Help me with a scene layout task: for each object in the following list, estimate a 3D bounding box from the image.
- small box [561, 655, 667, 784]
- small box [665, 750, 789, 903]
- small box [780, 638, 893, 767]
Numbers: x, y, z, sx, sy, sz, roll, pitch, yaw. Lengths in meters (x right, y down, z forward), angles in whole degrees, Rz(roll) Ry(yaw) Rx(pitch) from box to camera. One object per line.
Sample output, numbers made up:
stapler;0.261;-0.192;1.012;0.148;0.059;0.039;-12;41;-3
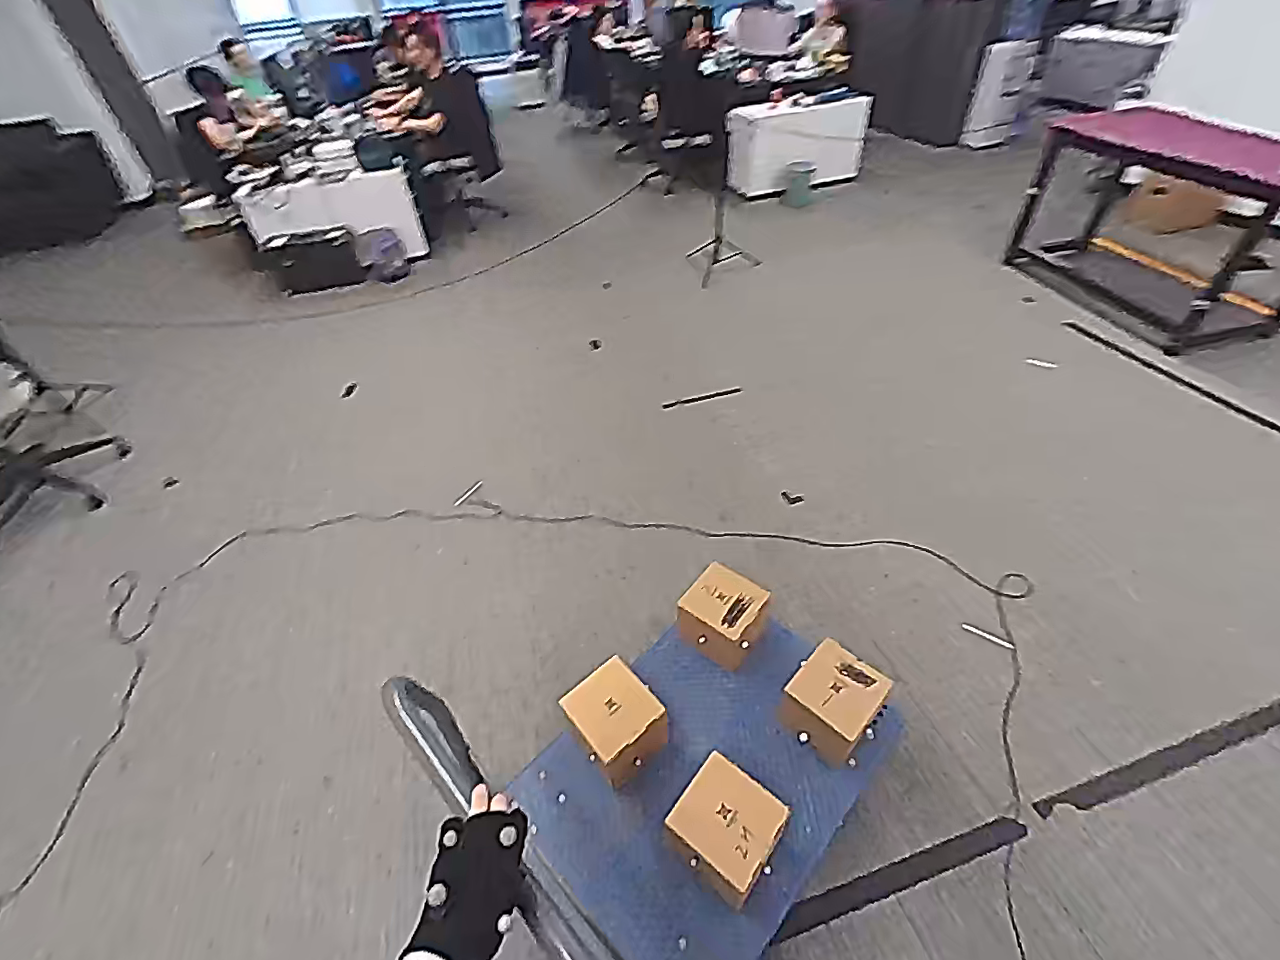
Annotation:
small box;-0.057;0.543;1.224;0.168;0.176;0.179;-33;52;-27
small box;0.166;0.681;1.059;0.179;0.176;0.168;28;53;30
small box;0.435;0.503;1.222;0.179;0.176;0.168;-37;52;-27
